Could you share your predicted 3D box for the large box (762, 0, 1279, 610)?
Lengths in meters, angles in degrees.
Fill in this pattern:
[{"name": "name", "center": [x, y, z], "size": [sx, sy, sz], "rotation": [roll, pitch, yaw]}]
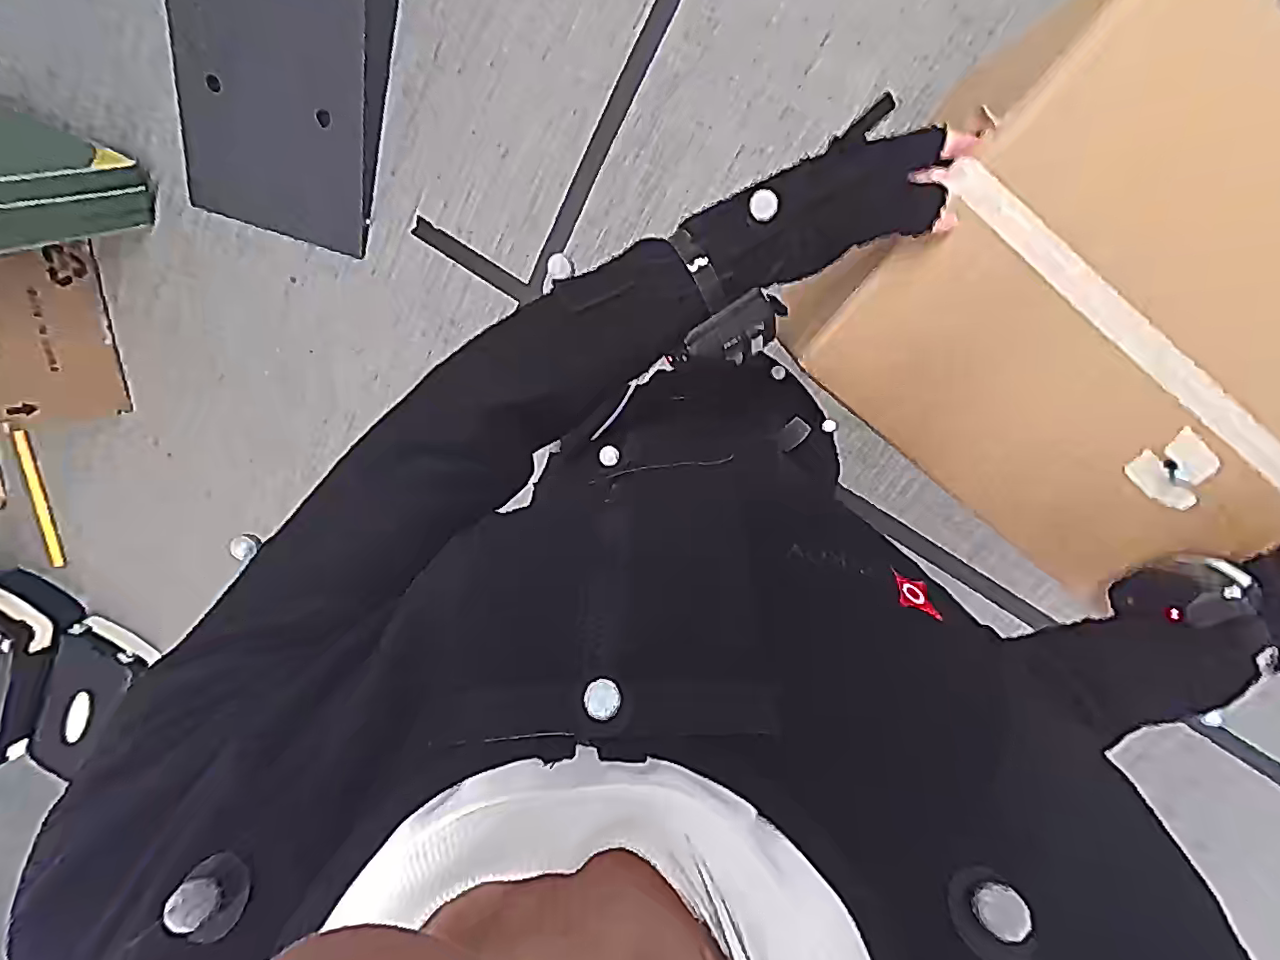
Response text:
[{"name": "large box", "center": [0.382, -0.162, 0.526], "size": [0.408, 0.320, 0.320], "rotation": [36, 113, -8]}]
